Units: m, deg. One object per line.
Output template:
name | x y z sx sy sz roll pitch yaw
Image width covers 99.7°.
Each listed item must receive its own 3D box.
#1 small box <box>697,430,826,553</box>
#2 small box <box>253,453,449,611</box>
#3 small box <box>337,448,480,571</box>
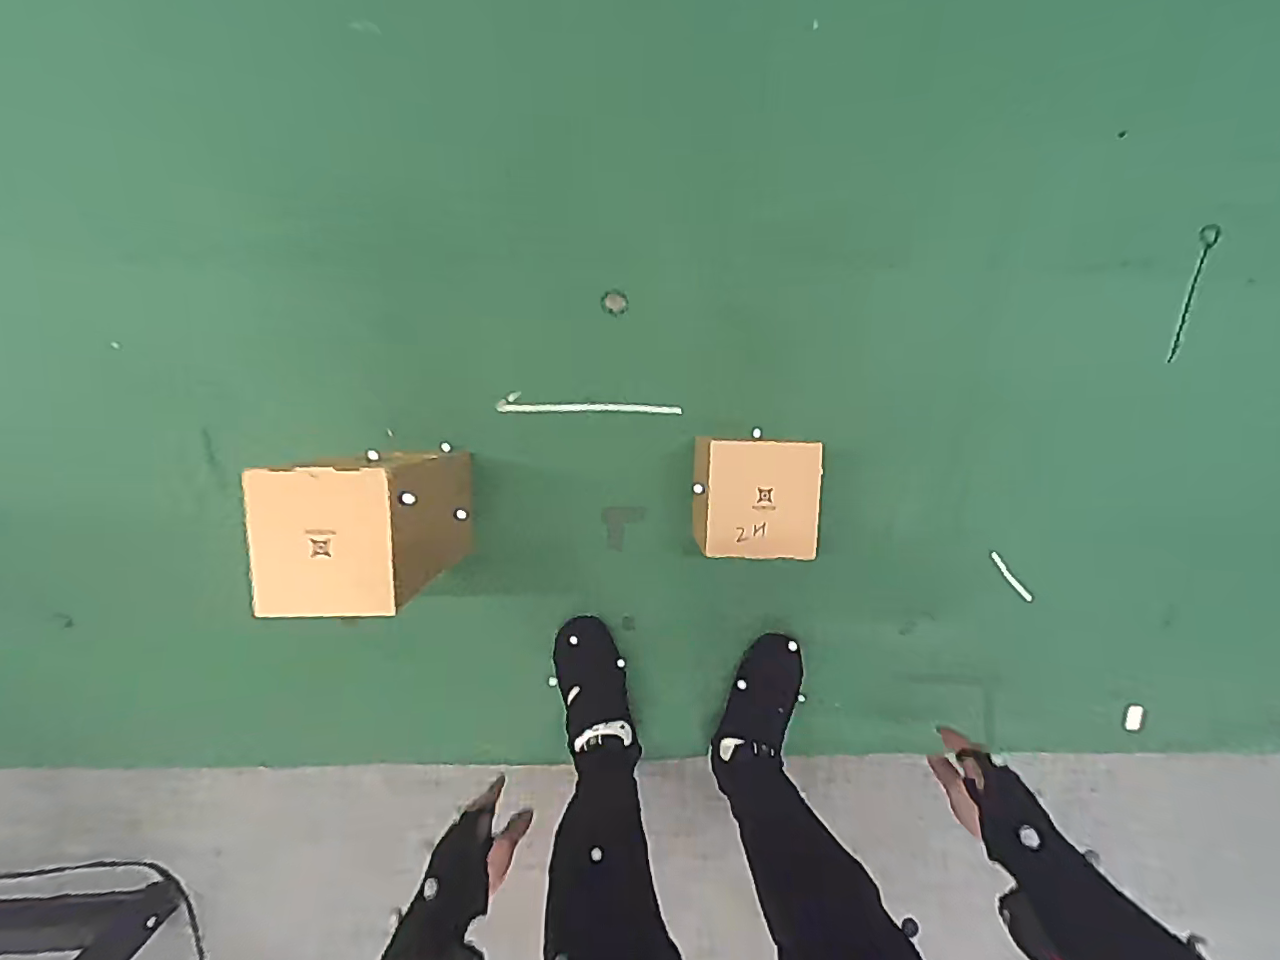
small box | 0.185 0.010 0.869 0.168 0.176 0.179 2 97 -1
small box | -0.359 0.058 0.706 0.168 0.176 0.179 -1 96 0
small box | -0.363 0.039 0.866 0.168 0.176 0.179 0 97 0
